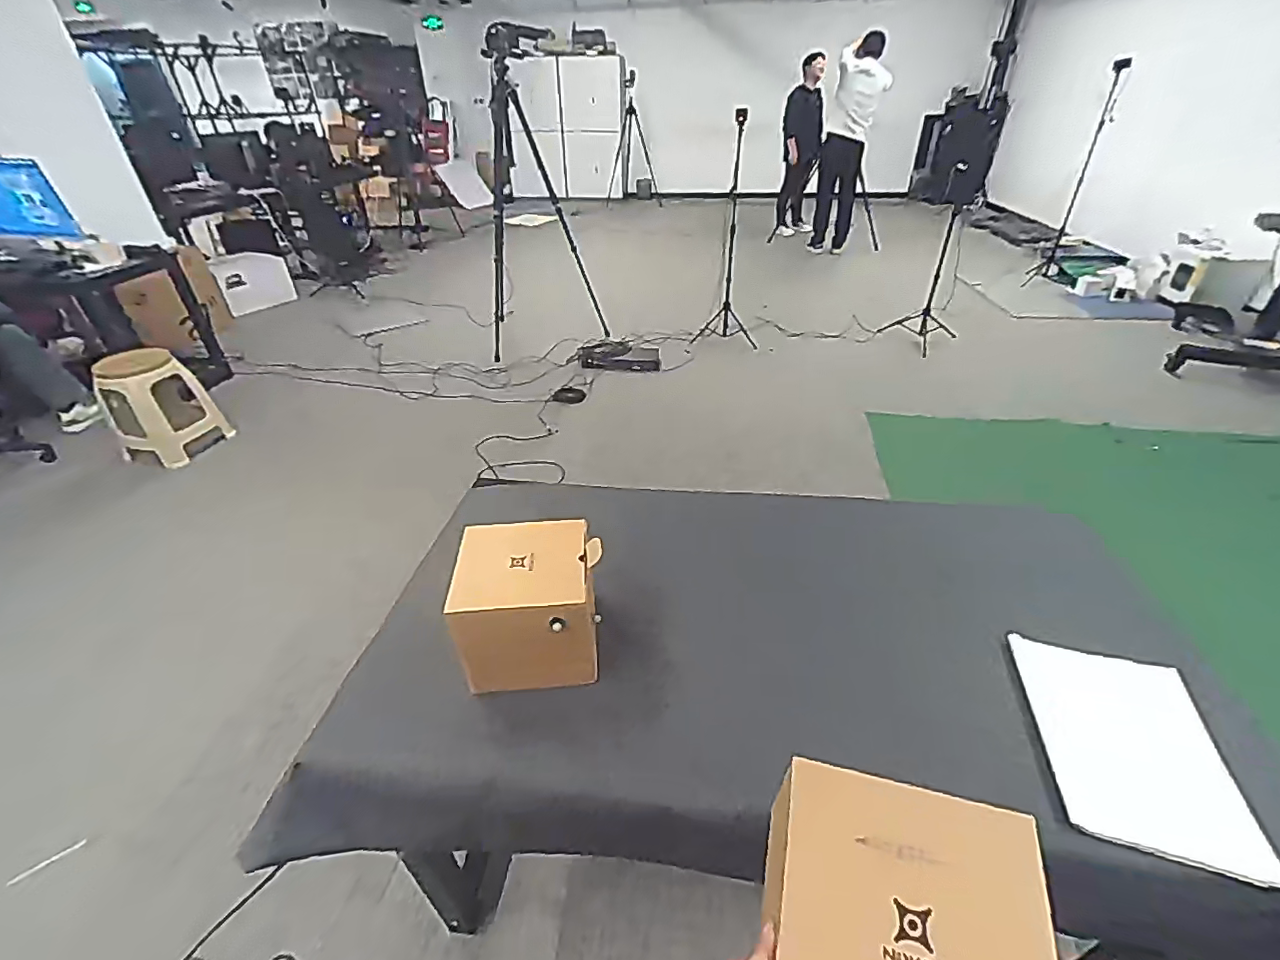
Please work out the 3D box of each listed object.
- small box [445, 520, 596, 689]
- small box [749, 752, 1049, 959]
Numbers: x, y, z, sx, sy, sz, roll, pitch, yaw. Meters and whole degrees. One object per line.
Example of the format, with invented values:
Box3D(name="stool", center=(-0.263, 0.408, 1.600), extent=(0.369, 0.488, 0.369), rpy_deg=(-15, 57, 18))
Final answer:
Box3D(name="small box", center=(-0.156, 0.176, 0.765), extent=(0.179, 0.176, 0.168), rpy_deg=(-3, 35, -5))
Box3D(name="small box", center=(0.174, 0.336, 0.400), extent=(0.168, 0.176, 0.179), rpy_deg=(9, 49, 13))
